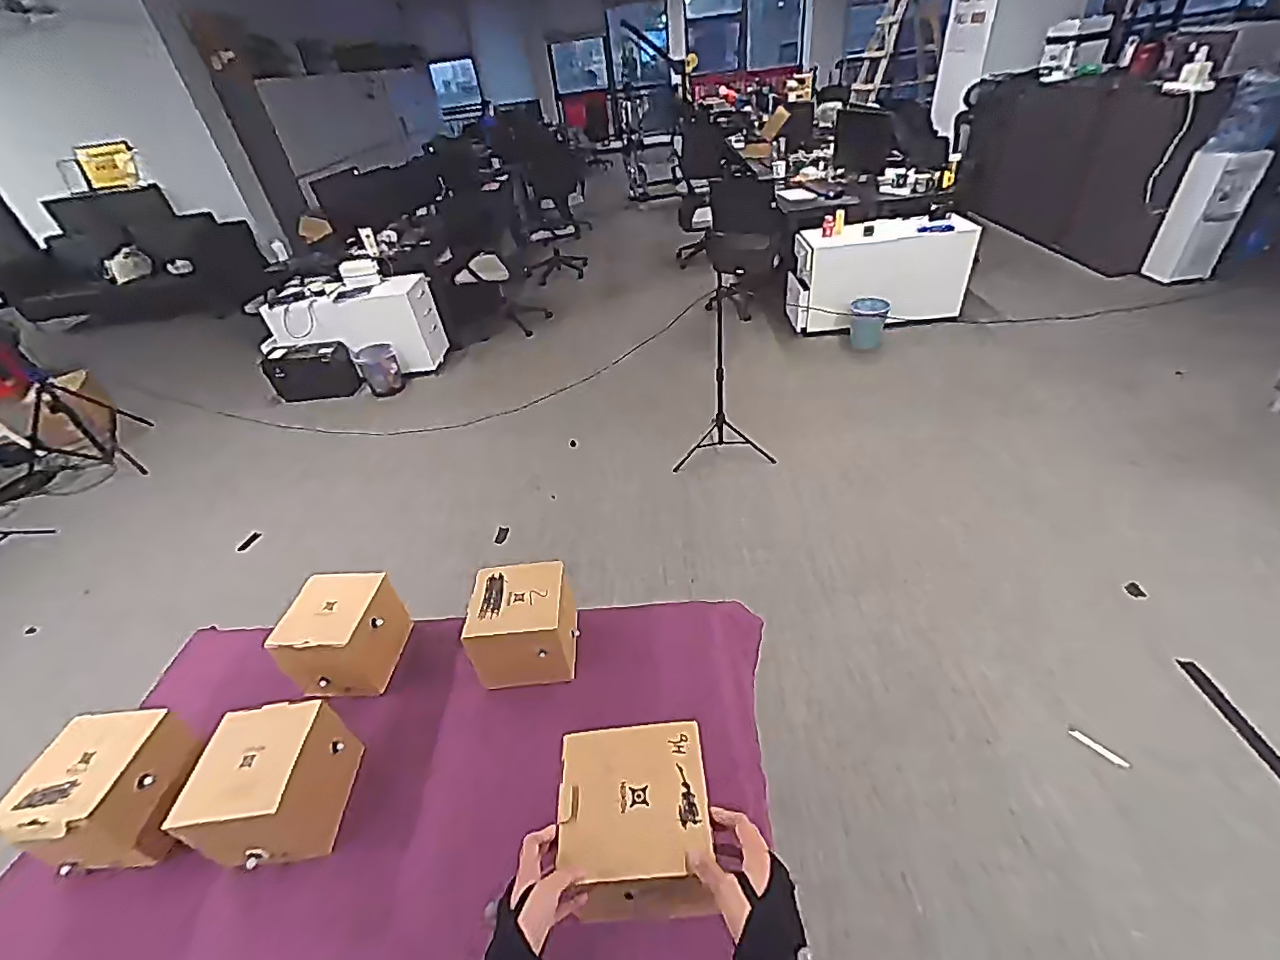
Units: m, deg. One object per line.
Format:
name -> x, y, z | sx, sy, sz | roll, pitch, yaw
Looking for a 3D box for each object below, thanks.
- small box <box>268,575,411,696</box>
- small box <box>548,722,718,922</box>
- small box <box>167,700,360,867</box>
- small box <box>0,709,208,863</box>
small box -> -0.591, 0.312, 1.096 | 0.168, 0.176, 0.179 | -2, 39, 6
small box -> -0.003, 0.431, 0.680 | 0.179, 0.176, 0.168 | -8, 39, 4
small box -> -0.585, 0.489, 0.875 | 0.168, 0.176, 0.179 | -8, 38, 1
small box -> -0.858, 0.508, 0.894 | 0.168, 0.176, 0.179 | -5, 36, 3
